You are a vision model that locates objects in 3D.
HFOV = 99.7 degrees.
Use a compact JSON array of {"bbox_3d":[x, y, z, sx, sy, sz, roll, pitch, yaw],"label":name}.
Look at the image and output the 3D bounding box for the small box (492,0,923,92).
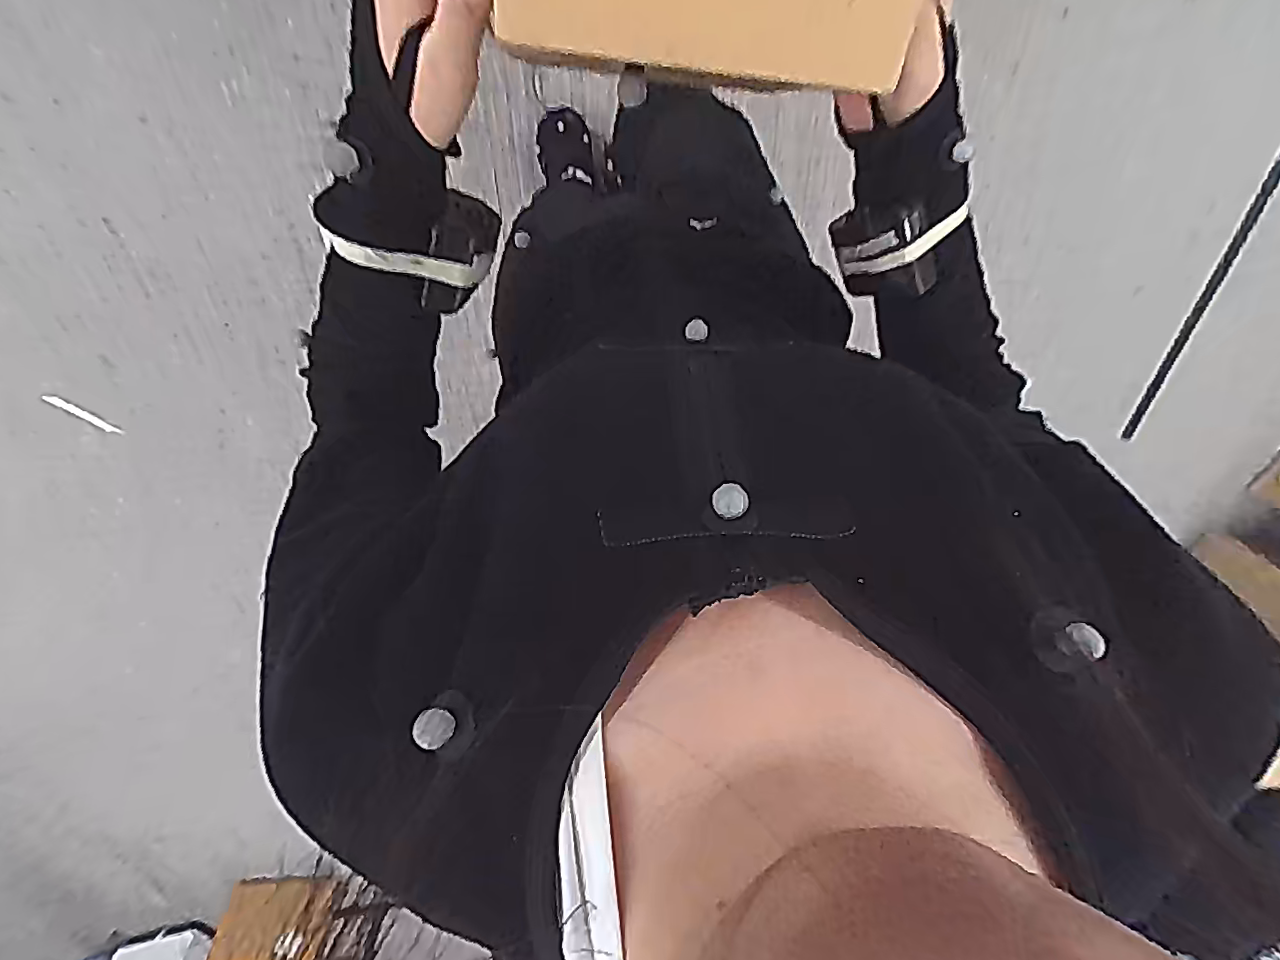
[{"bbox_3d":[0.028,-0.281,0.231,0.168,0.176,0.179,1,124,-8],"label":"small box"}]
